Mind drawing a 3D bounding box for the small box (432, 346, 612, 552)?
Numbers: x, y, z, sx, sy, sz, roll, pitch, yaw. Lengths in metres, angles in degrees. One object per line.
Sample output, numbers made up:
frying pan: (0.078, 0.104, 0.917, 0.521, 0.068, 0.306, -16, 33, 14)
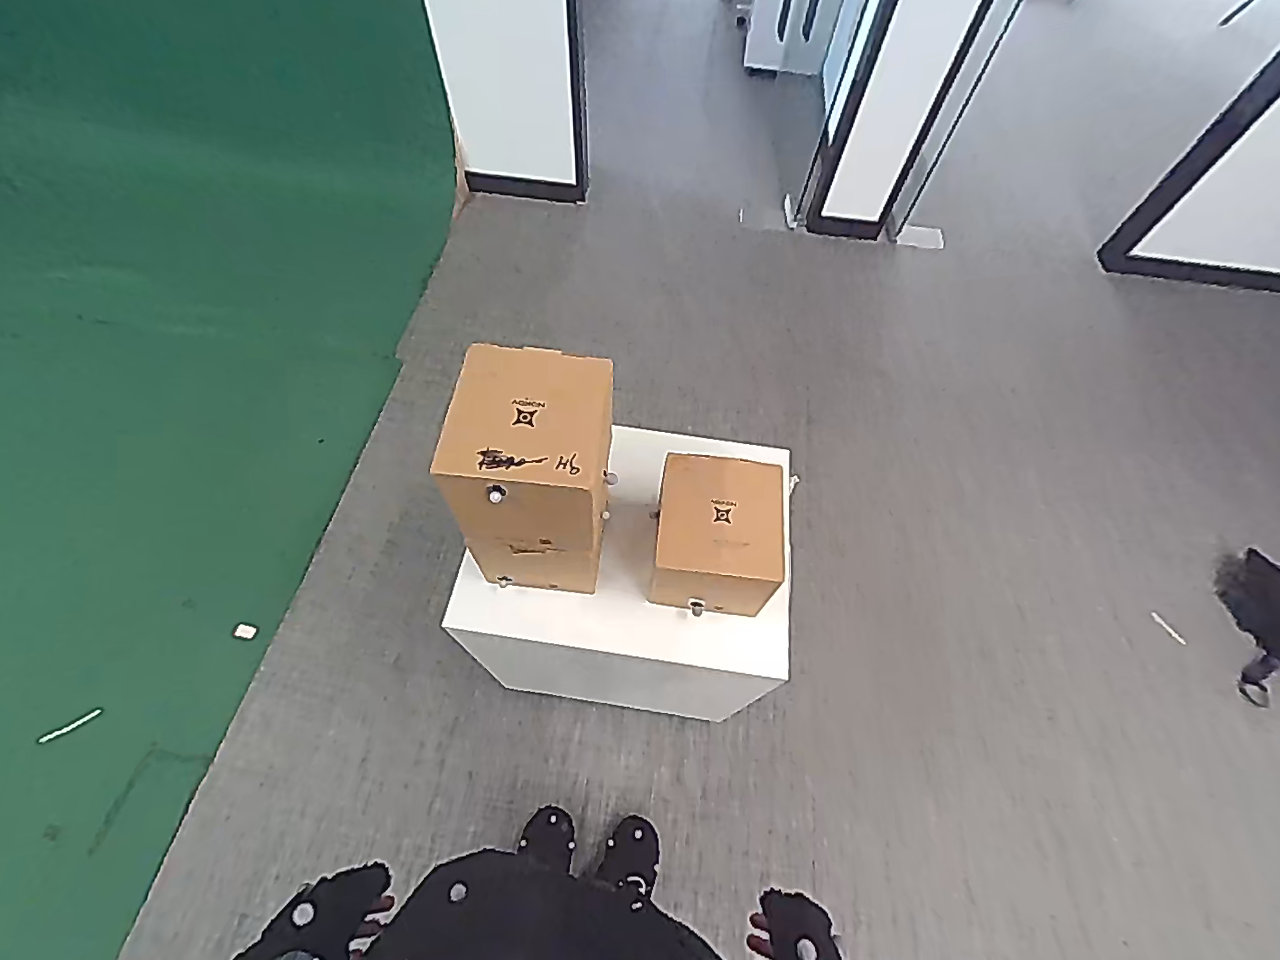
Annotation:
small box: (-0.127, -0.033, 0.654, 0.168, 0.176, 0.179, 6, 59, 0)

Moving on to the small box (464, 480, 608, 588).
small box: (-0.138, 0.048, 0.794, 0.168, 0.176, 0.179, 6, 59, 0)

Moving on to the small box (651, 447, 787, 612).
small box: (0.106, 0.075, 0.775, 0.168, 0.176, 0.179, 5, 62, 2)
